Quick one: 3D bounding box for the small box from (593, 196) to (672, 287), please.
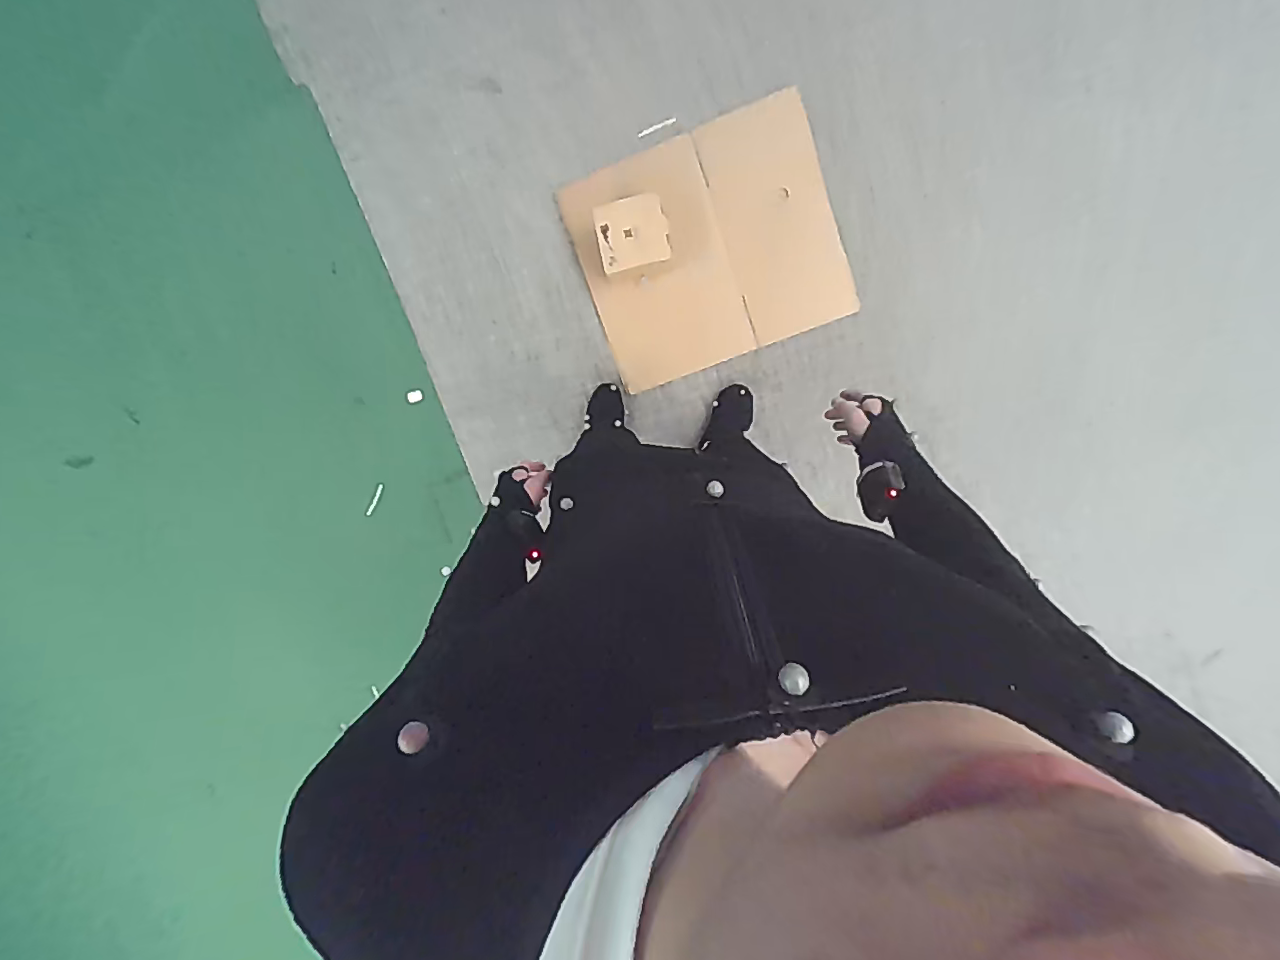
[{"bbox_3d":[-0.014,-0.626,1.437,0.179,0.176,0.168,-11,100,7],"label":"small box"}]
